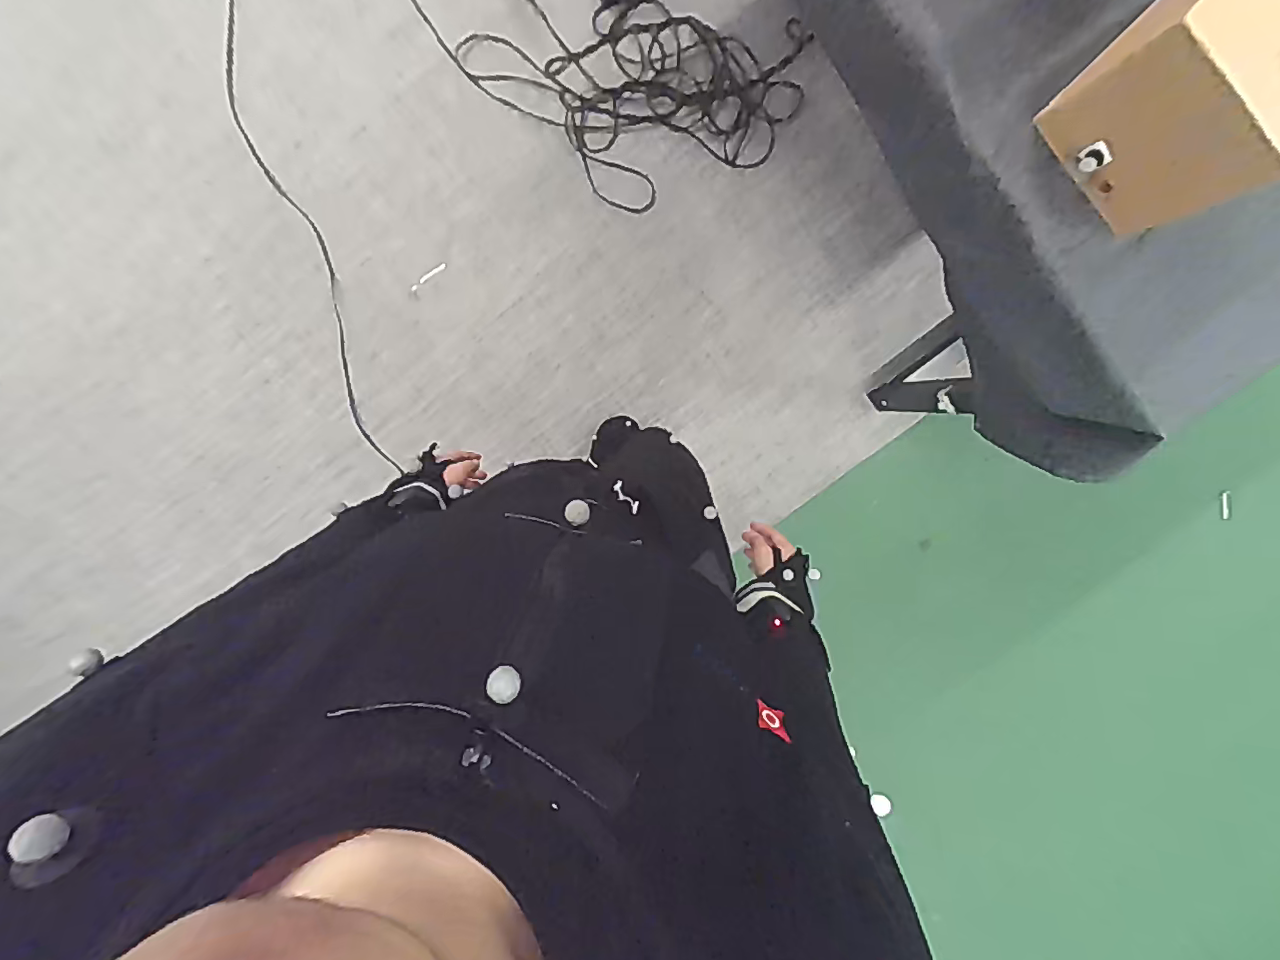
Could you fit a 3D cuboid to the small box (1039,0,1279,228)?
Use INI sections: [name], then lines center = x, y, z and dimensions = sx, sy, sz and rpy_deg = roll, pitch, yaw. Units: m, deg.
[small box]
center = 0.541, -0.379, 0.508
dimensions = 0.179, 0.176, 0.168
rpy_deg = -45, 96, 5
